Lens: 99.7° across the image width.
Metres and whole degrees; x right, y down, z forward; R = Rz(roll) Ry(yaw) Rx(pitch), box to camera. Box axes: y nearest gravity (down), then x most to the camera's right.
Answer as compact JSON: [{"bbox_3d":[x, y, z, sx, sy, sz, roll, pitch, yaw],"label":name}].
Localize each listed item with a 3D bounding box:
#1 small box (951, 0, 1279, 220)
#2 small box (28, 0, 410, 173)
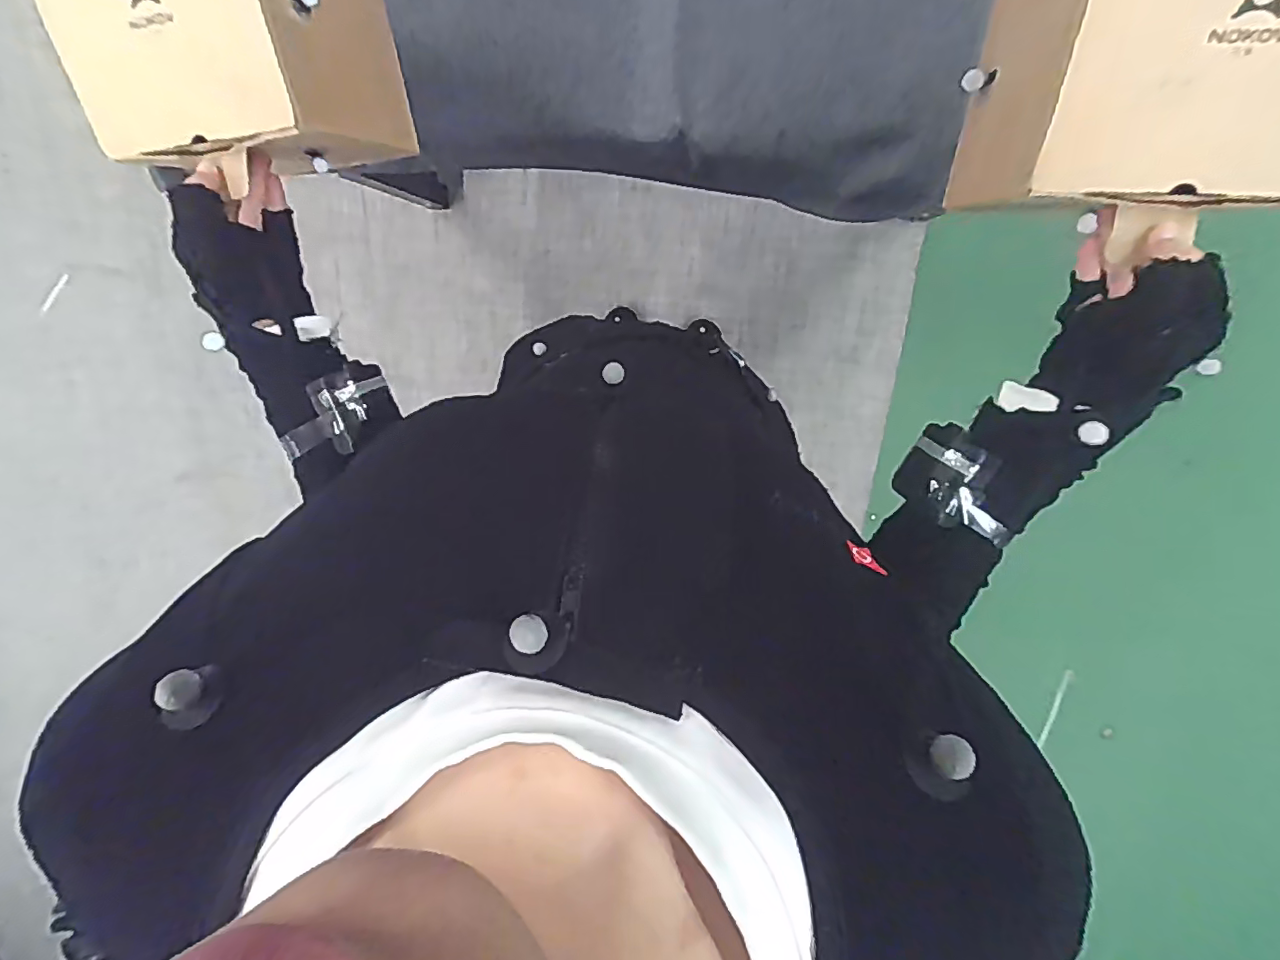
[{"bbox_3d":[0.332,-0.271,0.355,0.168,0.176,0.179,7,115,8],"label":"small box"},{"bbox_3d":[-0.309,-0.346,0.417,0.168,0.176,0.179,-2,114,10],"label":"small box"}]
